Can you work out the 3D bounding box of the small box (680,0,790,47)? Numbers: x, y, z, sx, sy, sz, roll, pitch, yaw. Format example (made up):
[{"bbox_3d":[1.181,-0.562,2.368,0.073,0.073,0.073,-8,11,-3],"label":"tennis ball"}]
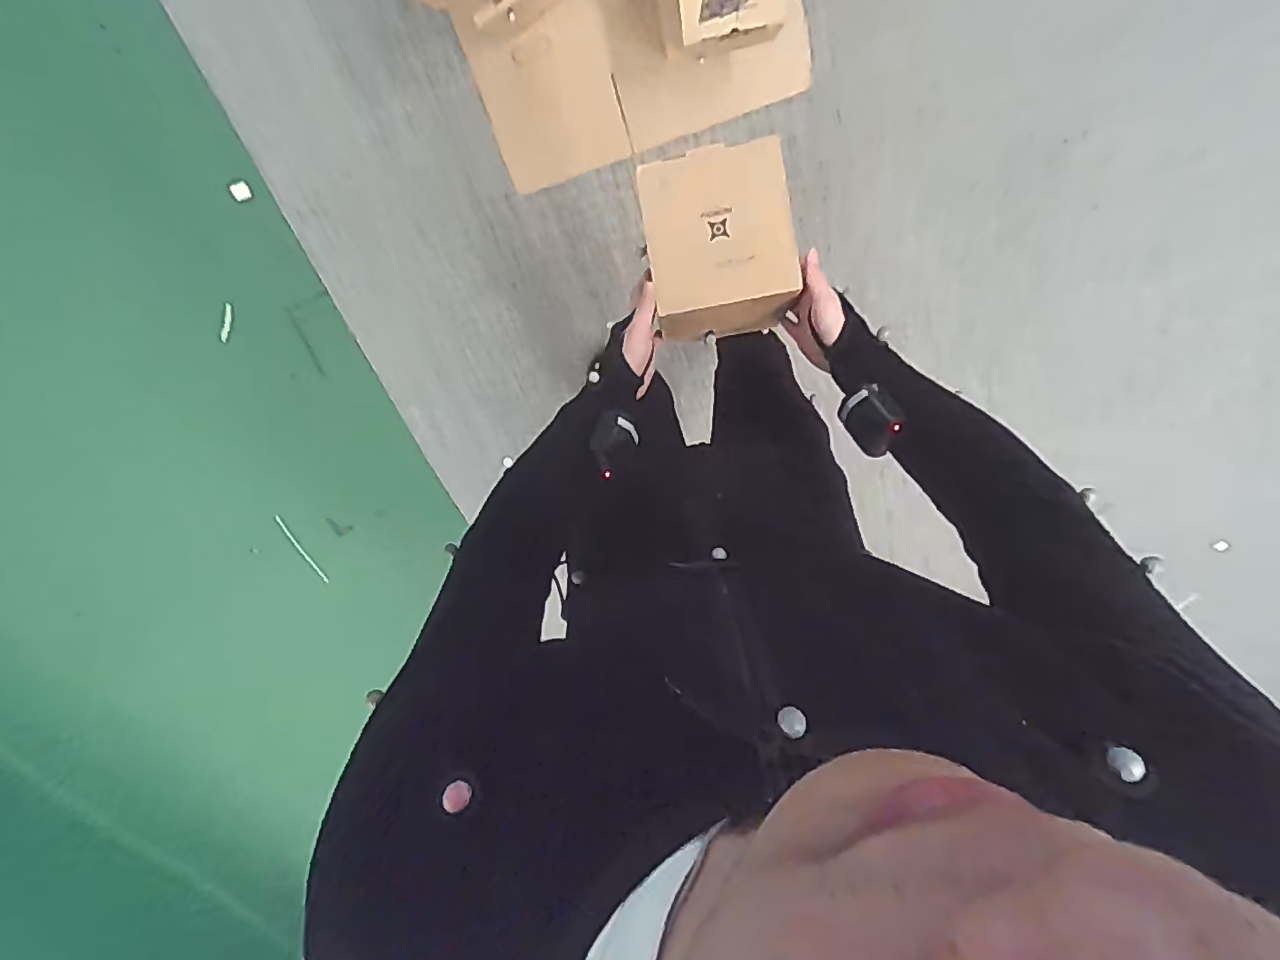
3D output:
[{"bbox_3d":[0.145,-0.821,0.863,0.168,0.176,0.179,-5,120,8],"label":"small box"}]

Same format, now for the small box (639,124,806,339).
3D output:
[{"bbox_3d":[0.096,-0.292,0.675,0.168,0.176,0.179,-9,91,6],"label":"small box"}]

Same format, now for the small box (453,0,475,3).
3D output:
[{"bbox_3d":[-0.287,-0.903,0.854,0.168,0.176,0.179,-20,117,15],"label":"small box"}]

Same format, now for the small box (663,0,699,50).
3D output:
[{"bbox_3d":[0.123,-0.923,0.997,0.168,0.176,0.179,-9,120,11],"label":"small box"}]

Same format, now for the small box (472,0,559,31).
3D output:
[{"bbox_3d":[-0.251,-0.981,0.997,0.168,0.176,0.179,-20,118,16],"label":"small box"}]
